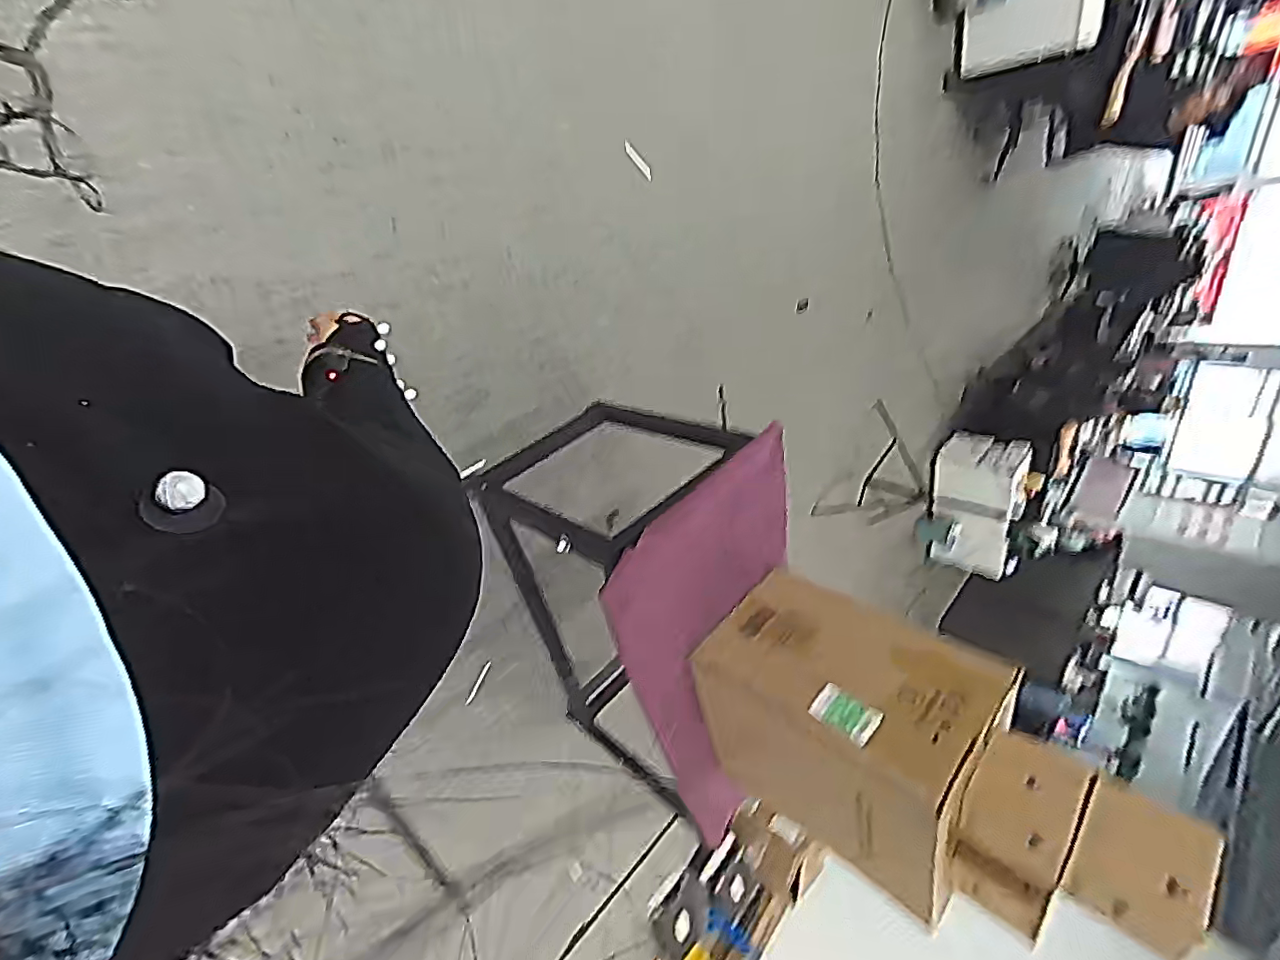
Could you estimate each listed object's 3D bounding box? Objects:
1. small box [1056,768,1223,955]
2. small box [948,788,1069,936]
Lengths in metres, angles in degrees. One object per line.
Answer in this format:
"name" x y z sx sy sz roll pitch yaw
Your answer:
"small box" 0.858 0.654 0.942 0.179 0.176 0.168 -40 130 -28
"small box" 0.804 0.827 1.188 0.179 0.176 0.168 -38 126 -28
